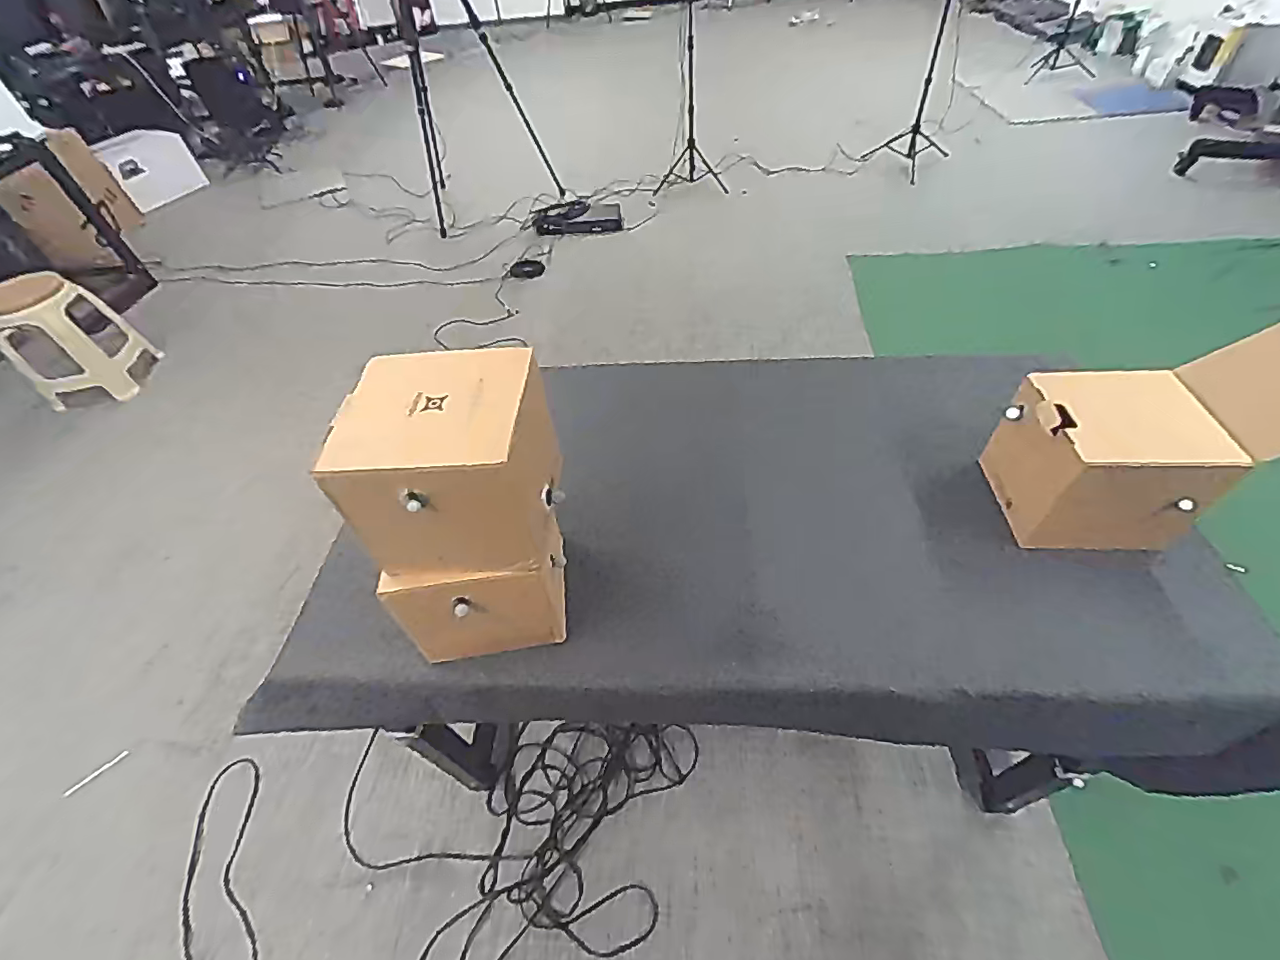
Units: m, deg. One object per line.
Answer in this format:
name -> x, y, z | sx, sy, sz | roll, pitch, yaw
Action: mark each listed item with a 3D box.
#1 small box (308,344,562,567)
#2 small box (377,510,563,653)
small box -> -0.189, -0.021, 0.563 | 0.179, 0.176, 0.168 | -2, 49, 3
small box -> -0.192, 0.098, 0.676 | 0.179, 0.176, 0.168 | -8, 48, -1
